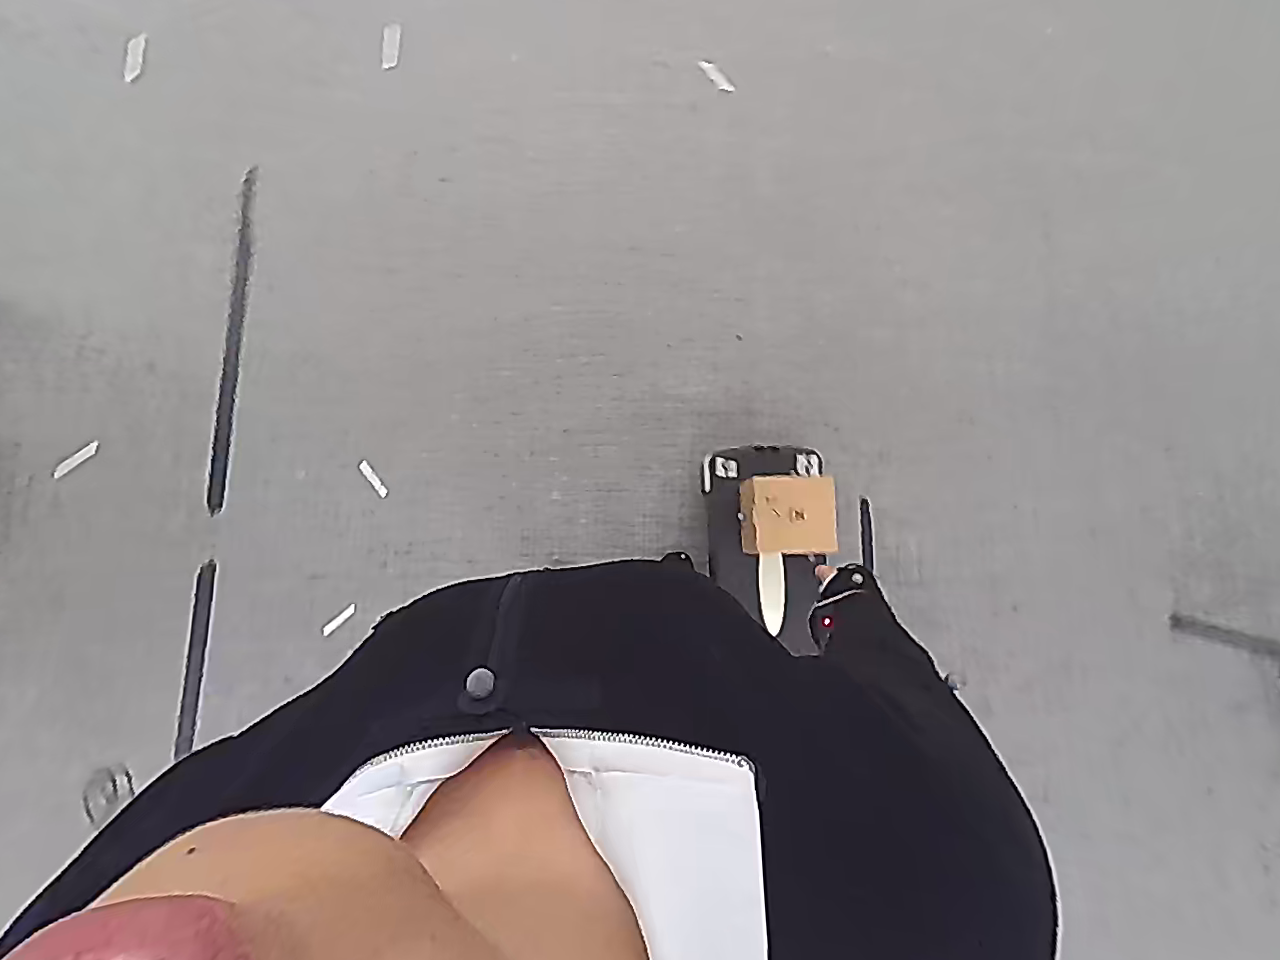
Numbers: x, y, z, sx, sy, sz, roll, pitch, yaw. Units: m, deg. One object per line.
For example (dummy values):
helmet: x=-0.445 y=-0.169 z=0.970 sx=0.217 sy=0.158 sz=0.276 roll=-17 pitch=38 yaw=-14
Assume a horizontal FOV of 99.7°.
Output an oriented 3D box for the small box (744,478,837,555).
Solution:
small box: x=0.332 y=0.085 z=1.232 sx=0.179 sy=0.176 sz=0.168 roll=0 pitch=84 yaw=0
